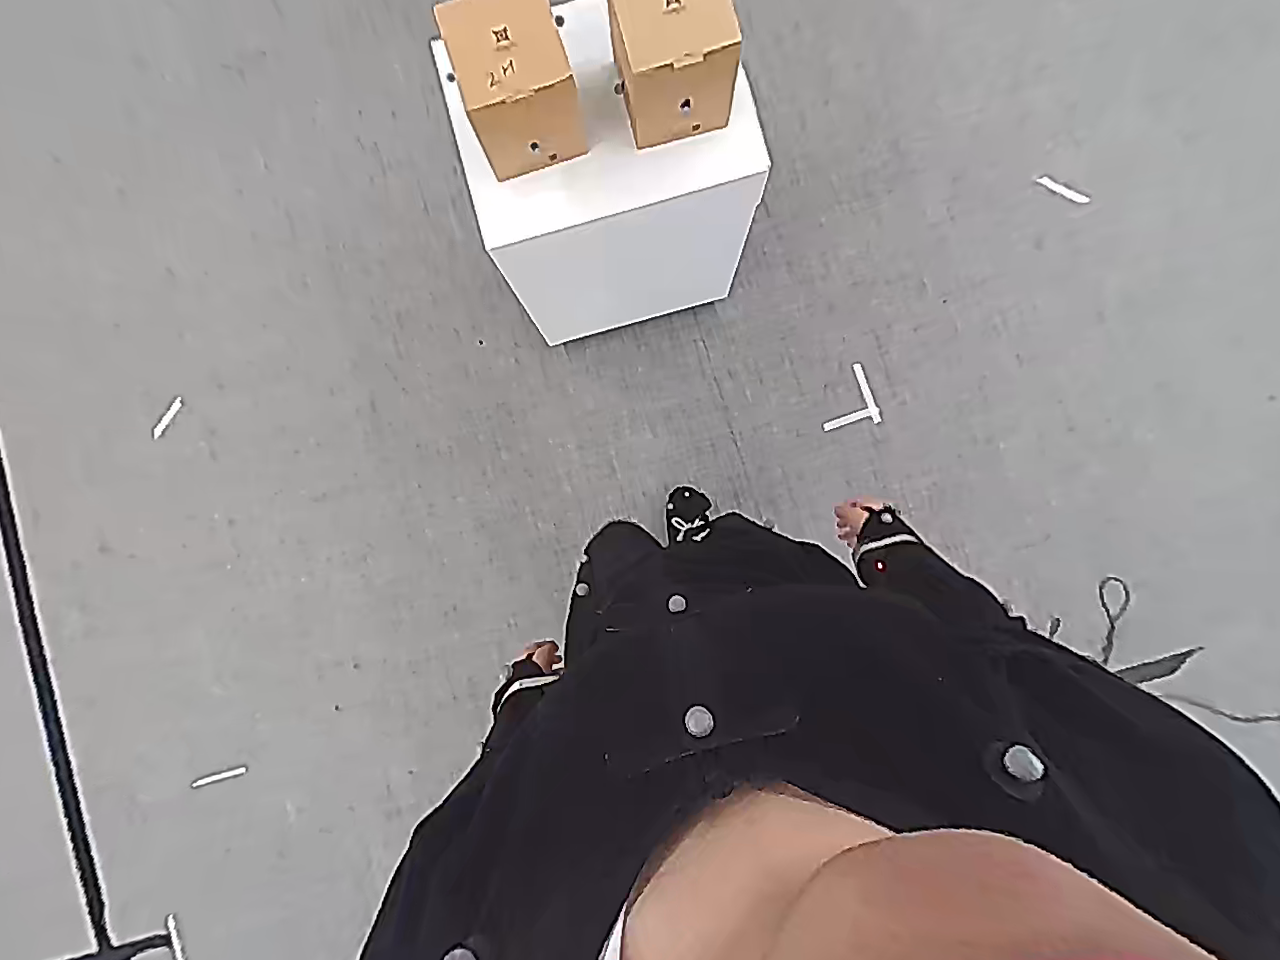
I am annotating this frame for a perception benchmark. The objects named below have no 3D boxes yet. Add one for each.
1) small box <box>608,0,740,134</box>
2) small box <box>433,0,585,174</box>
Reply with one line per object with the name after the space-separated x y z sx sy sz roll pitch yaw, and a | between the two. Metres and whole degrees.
0.049 -0.682 0.849 0.168 0.176 0.179 -14 88 1 | small box
-0.196 -0.632 0.854 0.168 0.176 0.179 -18 87 1 | small box
